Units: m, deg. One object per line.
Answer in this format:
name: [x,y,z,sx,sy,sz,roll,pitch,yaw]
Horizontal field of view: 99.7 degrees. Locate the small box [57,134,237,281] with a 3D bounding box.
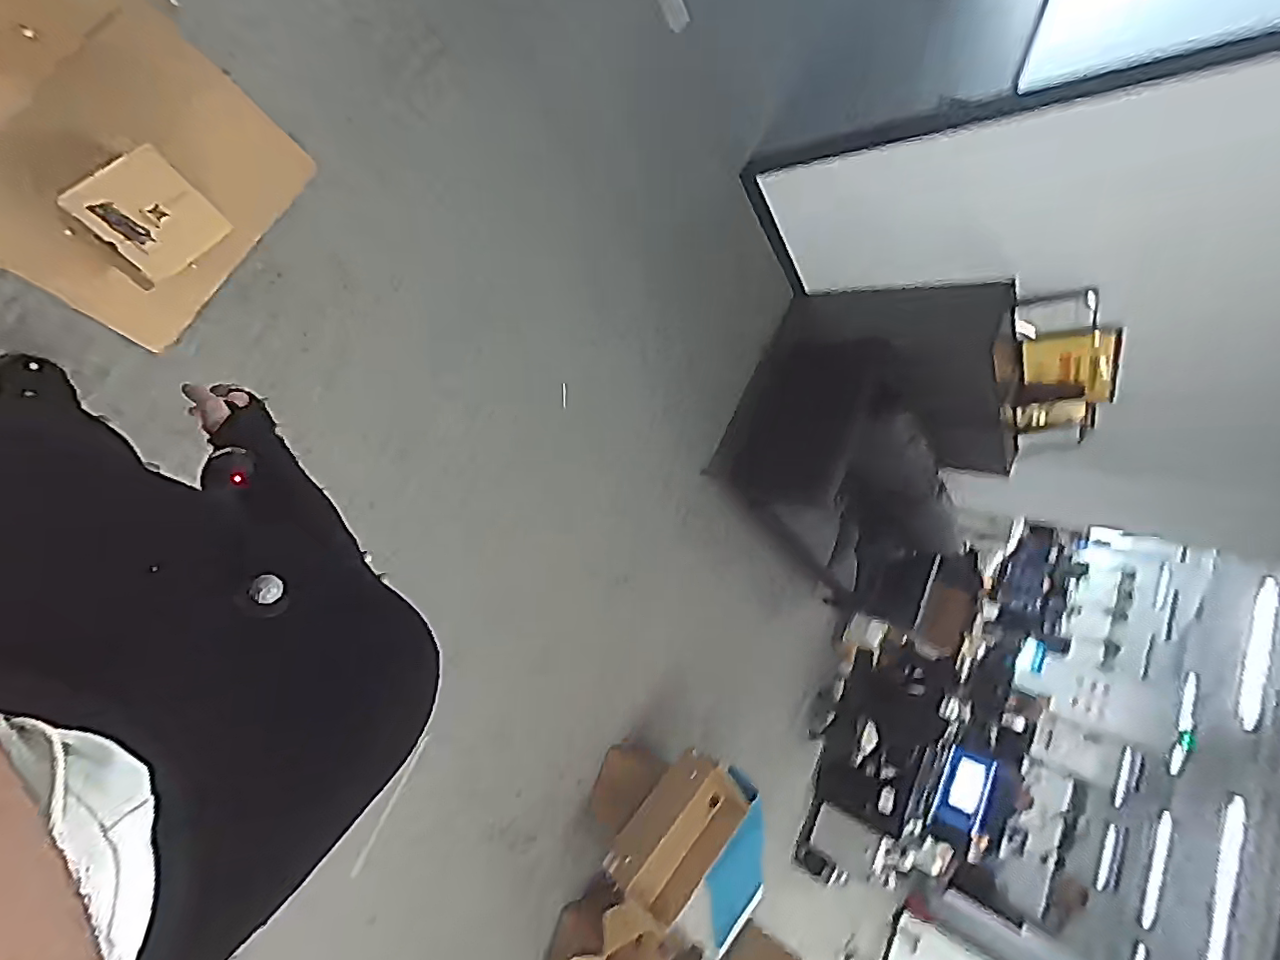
small box: [-0.894,-0.485,0.986,0.179,0.176,0.168,-57,135,-23]
